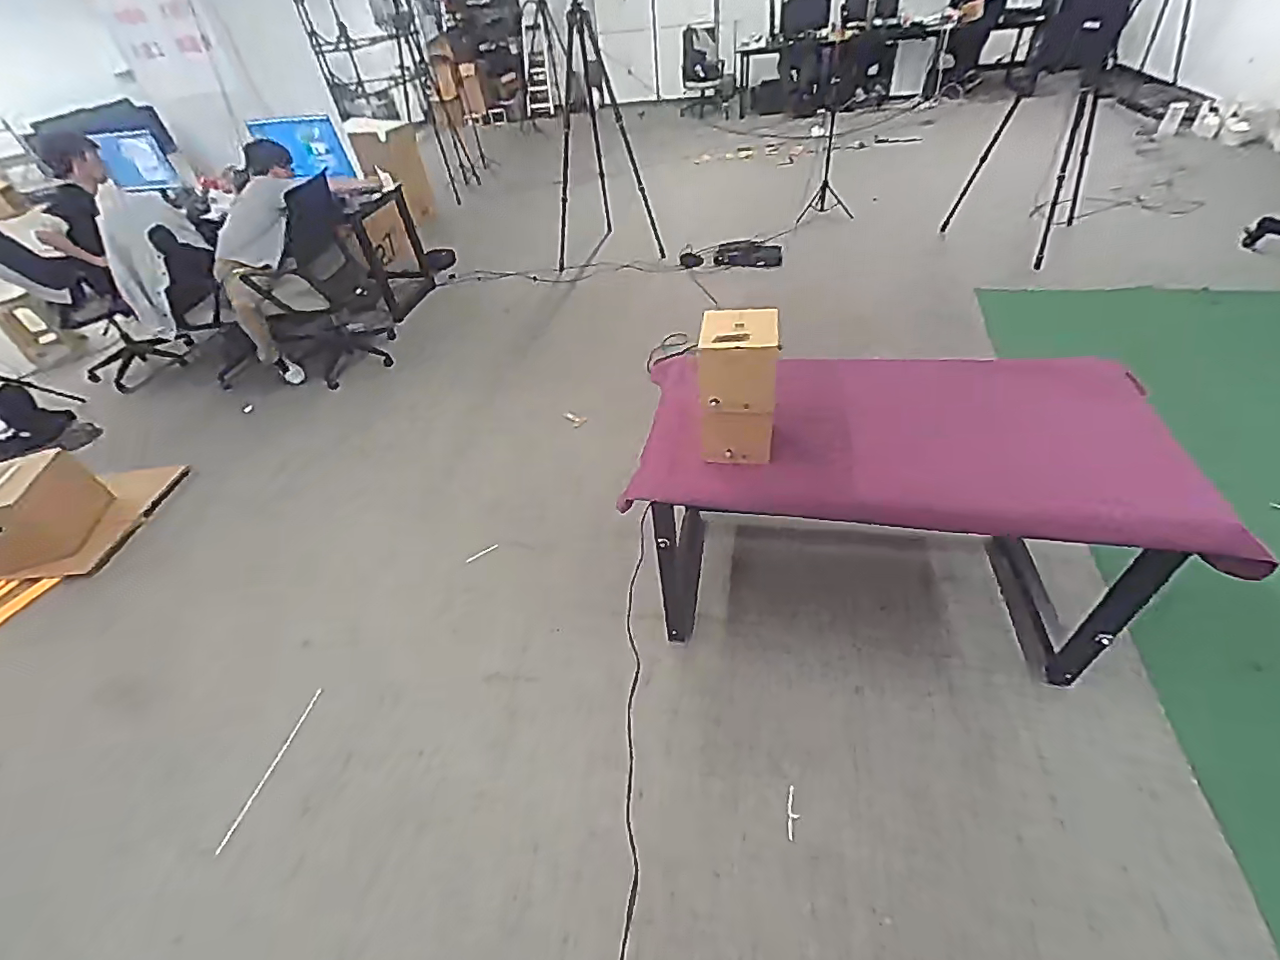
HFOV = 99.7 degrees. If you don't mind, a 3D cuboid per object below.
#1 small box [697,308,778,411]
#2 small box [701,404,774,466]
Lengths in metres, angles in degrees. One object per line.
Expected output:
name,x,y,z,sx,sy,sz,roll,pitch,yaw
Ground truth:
small box,0.224,-0.269,1.222,0.168,0.176,0.179,2,43,12
small box,0.243,-0.156,1.339,0.168,0.176,0.179,2,45,12
